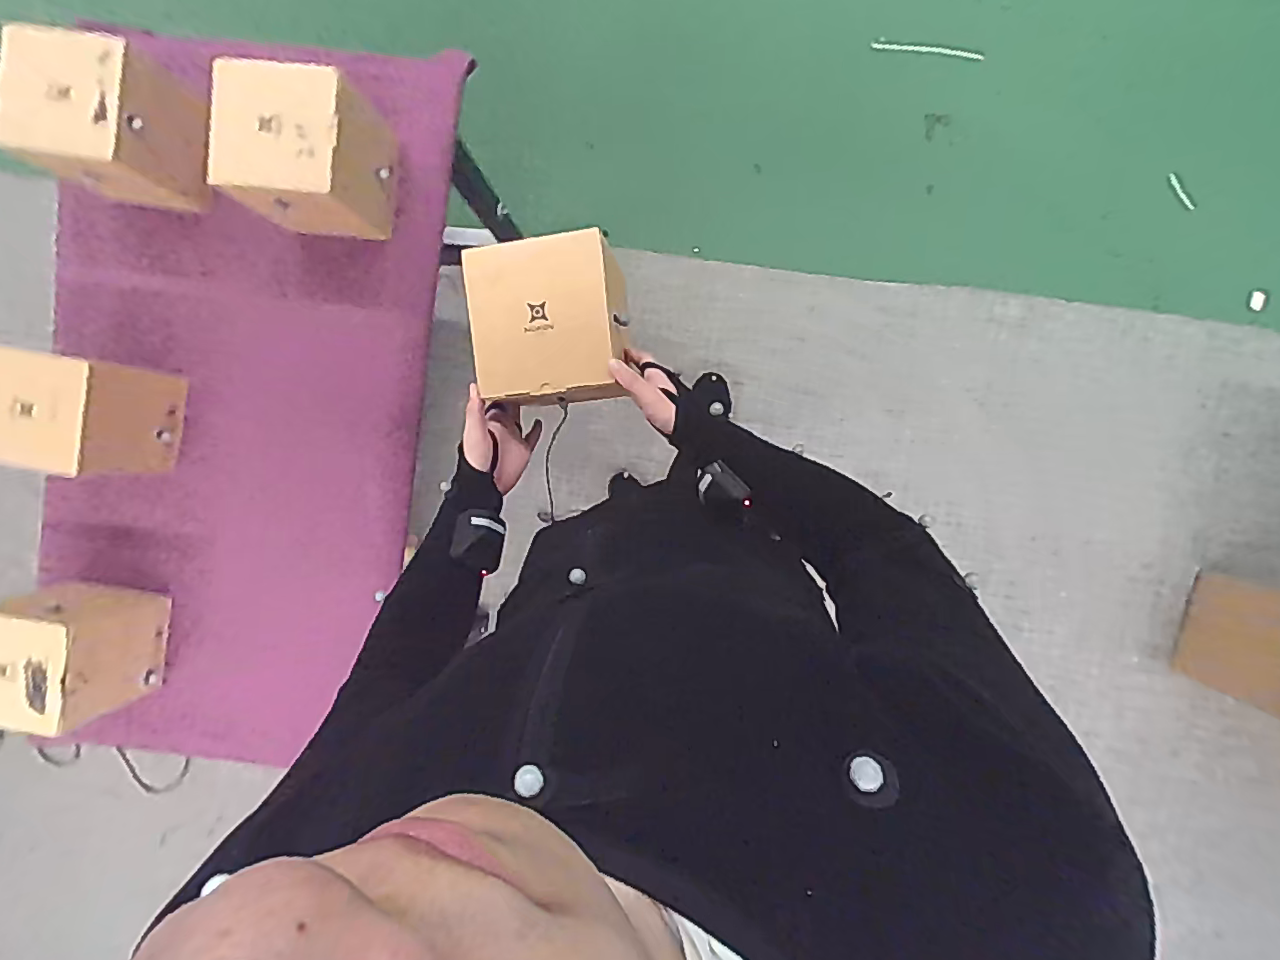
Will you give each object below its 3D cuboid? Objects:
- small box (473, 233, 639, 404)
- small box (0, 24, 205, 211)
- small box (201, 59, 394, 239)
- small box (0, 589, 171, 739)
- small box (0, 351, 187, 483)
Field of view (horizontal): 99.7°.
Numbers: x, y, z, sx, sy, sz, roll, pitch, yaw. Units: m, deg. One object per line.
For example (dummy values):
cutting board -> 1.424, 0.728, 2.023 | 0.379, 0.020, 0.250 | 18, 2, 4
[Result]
small box -> -0.096, -0.193, 0.699 | 0.168, 0.176, 0.179 | -5, 97, 7
small box -> -0.795, -0.524, 0.806 | 0.179, 0.176, 0.168 | 8, 95, 1
small box -> -0.494, -0.474, 0.799 | 0.179, 0.176, 0.168 | 6, 95, 1
small box -> -0.902, 0.281, 0.859 | 0.179, 0.176, 0.168 | 8, 93, 0
small box -> -0.865, -0.095, 0.838 | 0.179, 0.176, 0.168 | 10, 95, 0
